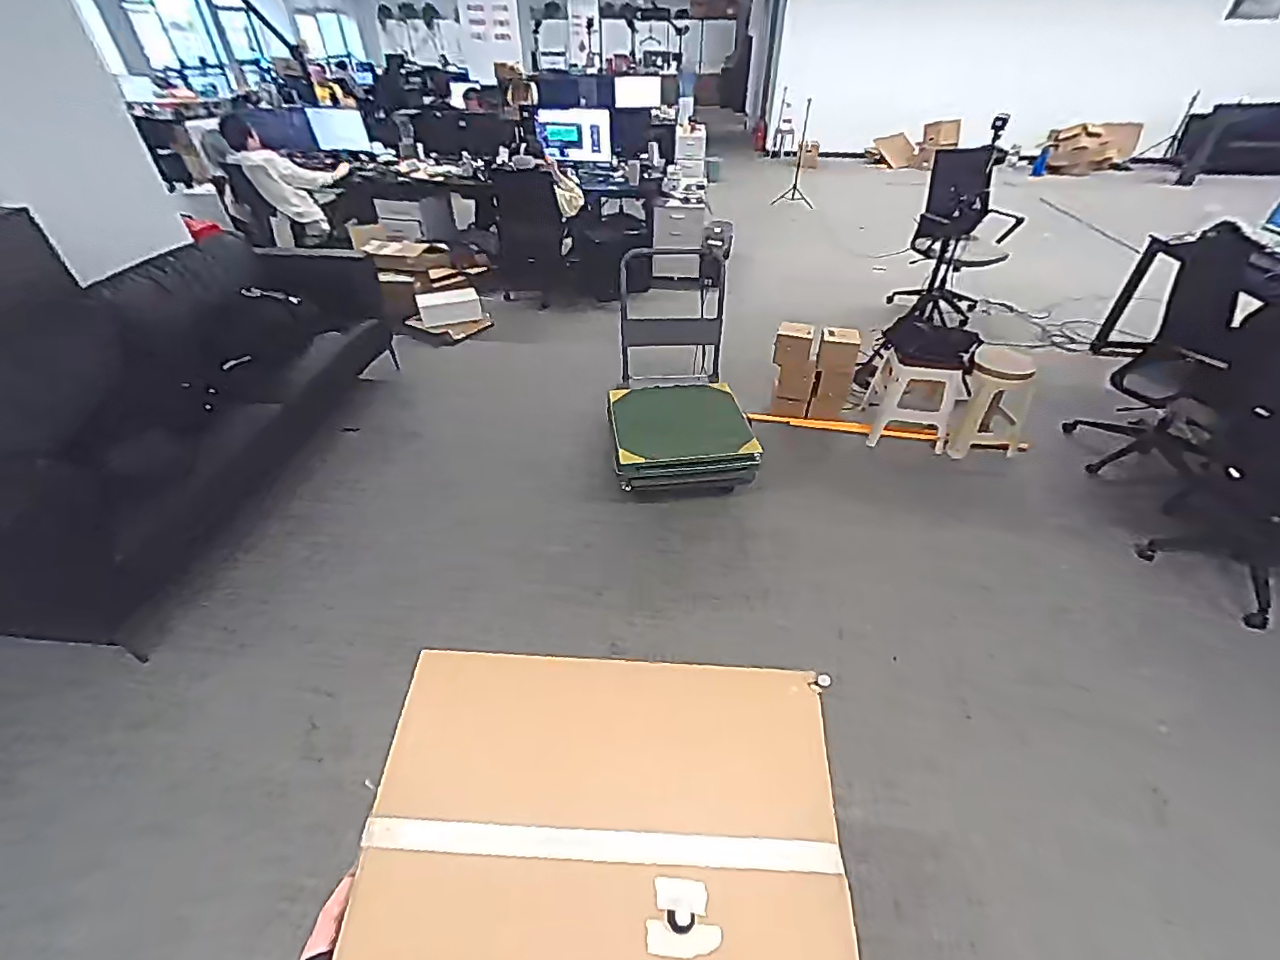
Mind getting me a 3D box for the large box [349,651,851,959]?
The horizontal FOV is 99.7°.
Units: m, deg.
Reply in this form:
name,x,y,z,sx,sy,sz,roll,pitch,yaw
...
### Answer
name,x,y,z,sx,sy,sz,roll,pitch,yaw
large box,-0.033,0.397,0.594,0.408,0.320,0.320,3,55,0
